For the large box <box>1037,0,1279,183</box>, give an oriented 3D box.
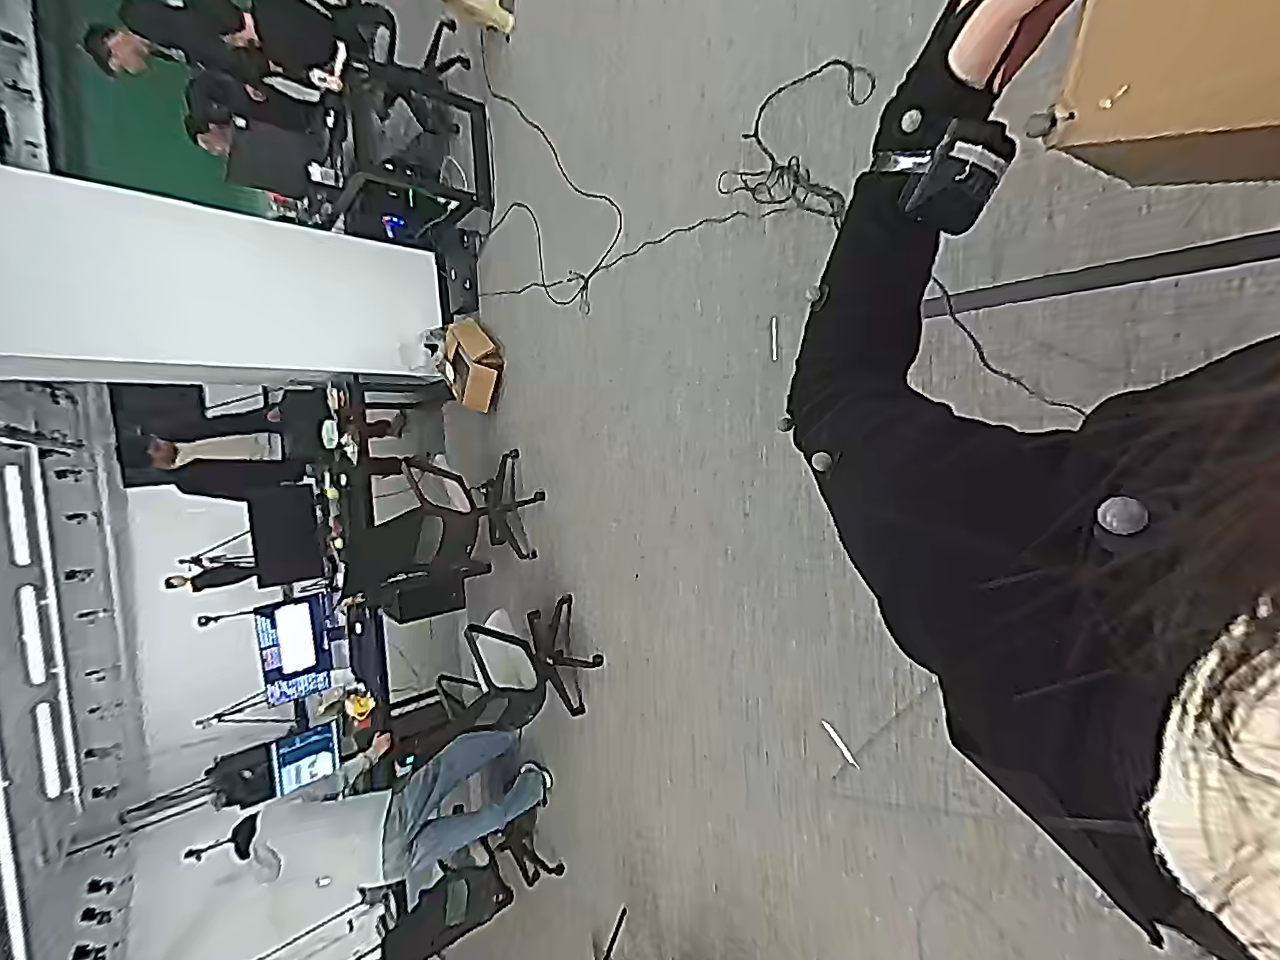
[{"bbox_3d":[0.488,-0.326,0.231,0.408,0.320,0.320,24,122,43],"label":"large box"}]
